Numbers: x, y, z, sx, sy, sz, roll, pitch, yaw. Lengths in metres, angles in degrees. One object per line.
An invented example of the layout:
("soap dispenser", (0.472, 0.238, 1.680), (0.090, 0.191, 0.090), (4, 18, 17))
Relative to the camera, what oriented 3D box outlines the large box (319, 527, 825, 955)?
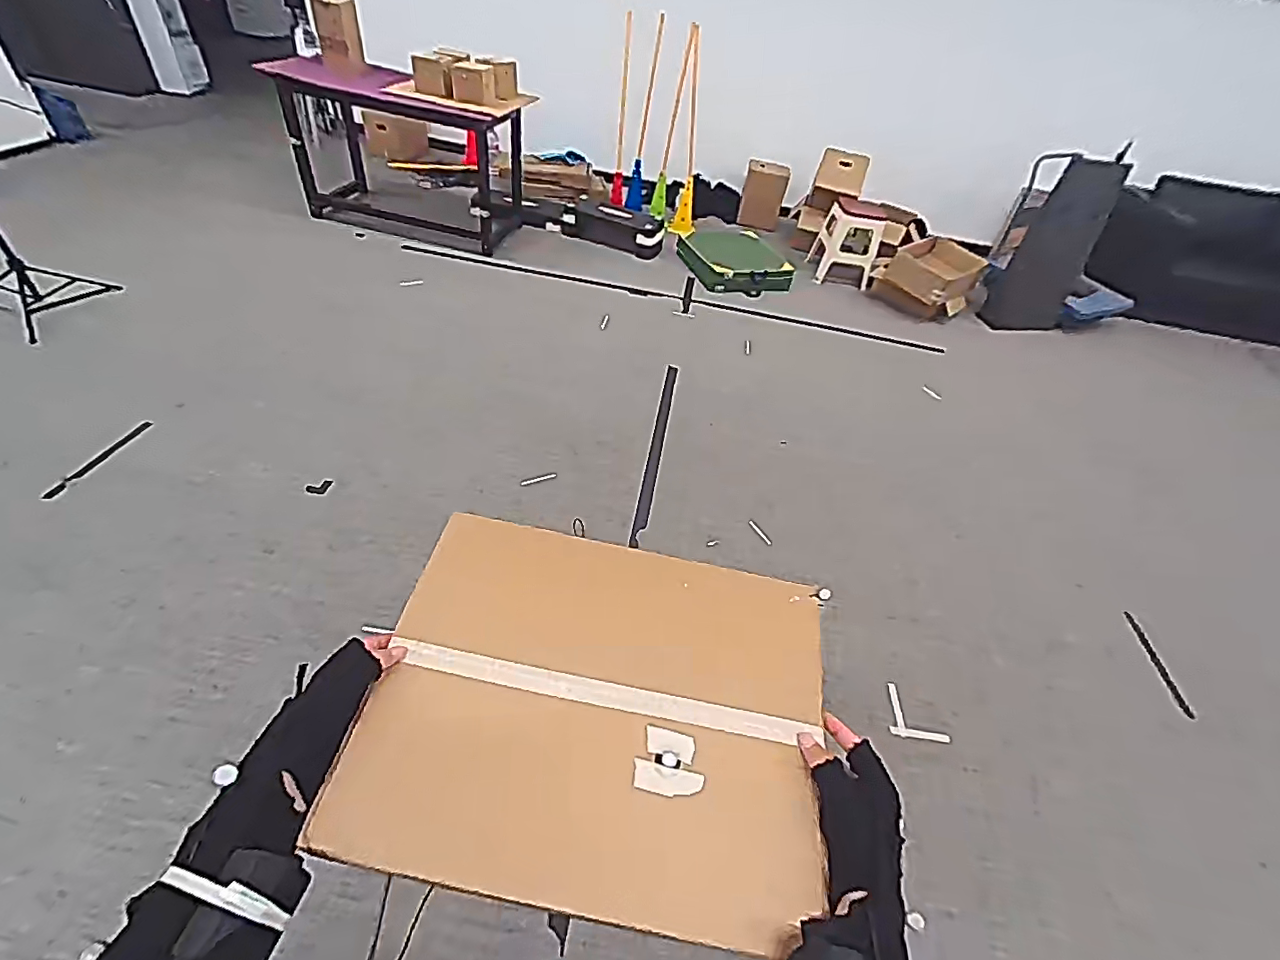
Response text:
("large box", (-0.049, 0.296, 0.619), (0.408, 0.320, 0.320), (12, 52, 0))
